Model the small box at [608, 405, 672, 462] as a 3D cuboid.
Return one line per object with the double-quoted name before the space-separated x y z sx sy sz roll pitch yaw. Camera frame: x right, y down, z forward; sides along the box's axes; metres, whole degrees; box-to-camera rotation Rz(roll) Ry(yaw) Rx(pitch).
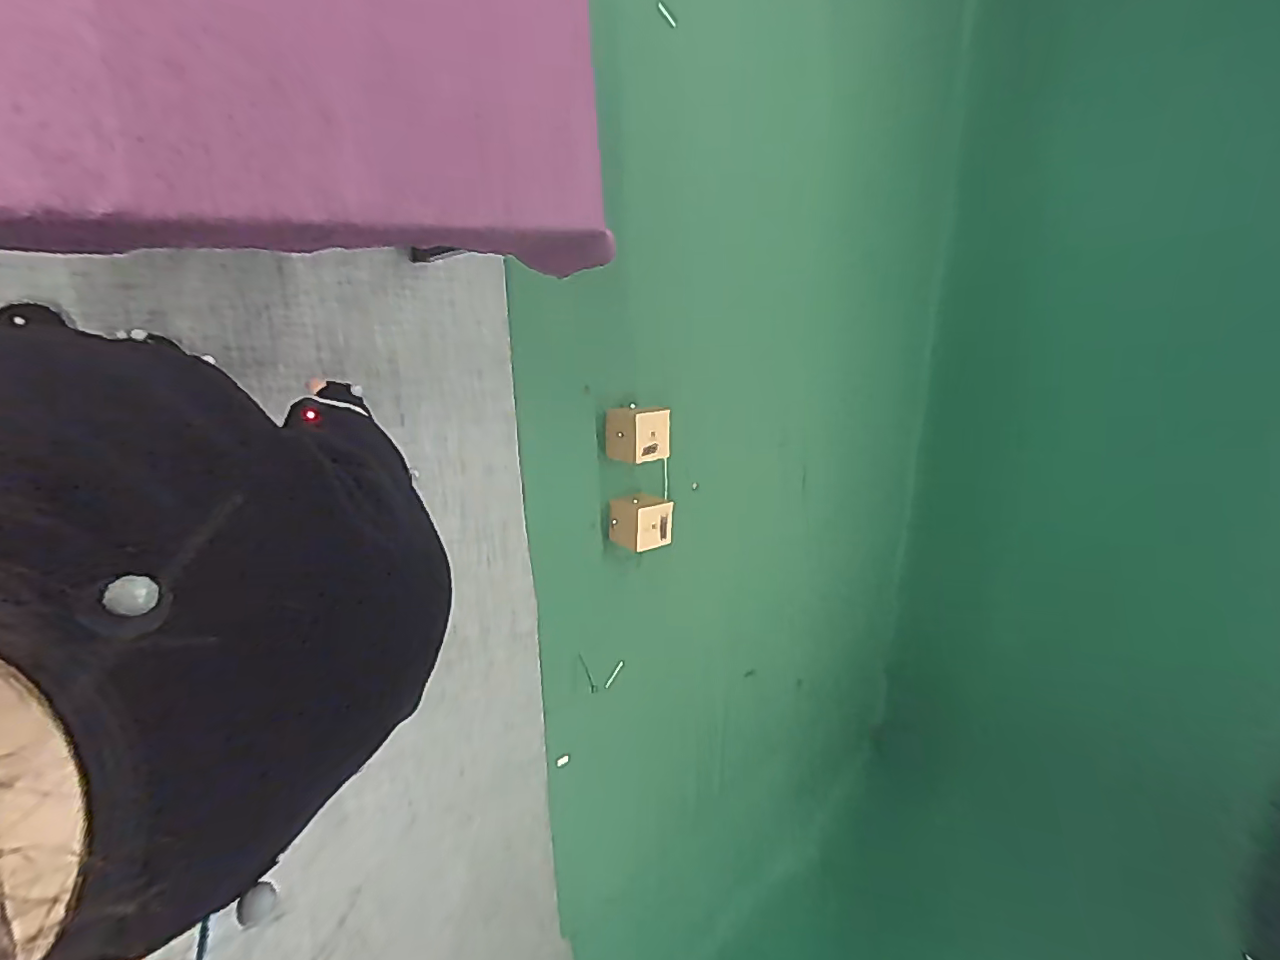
"small box" -0.003 -0.171 1.948 0.168 0.176 0.179 -13 108 -40
